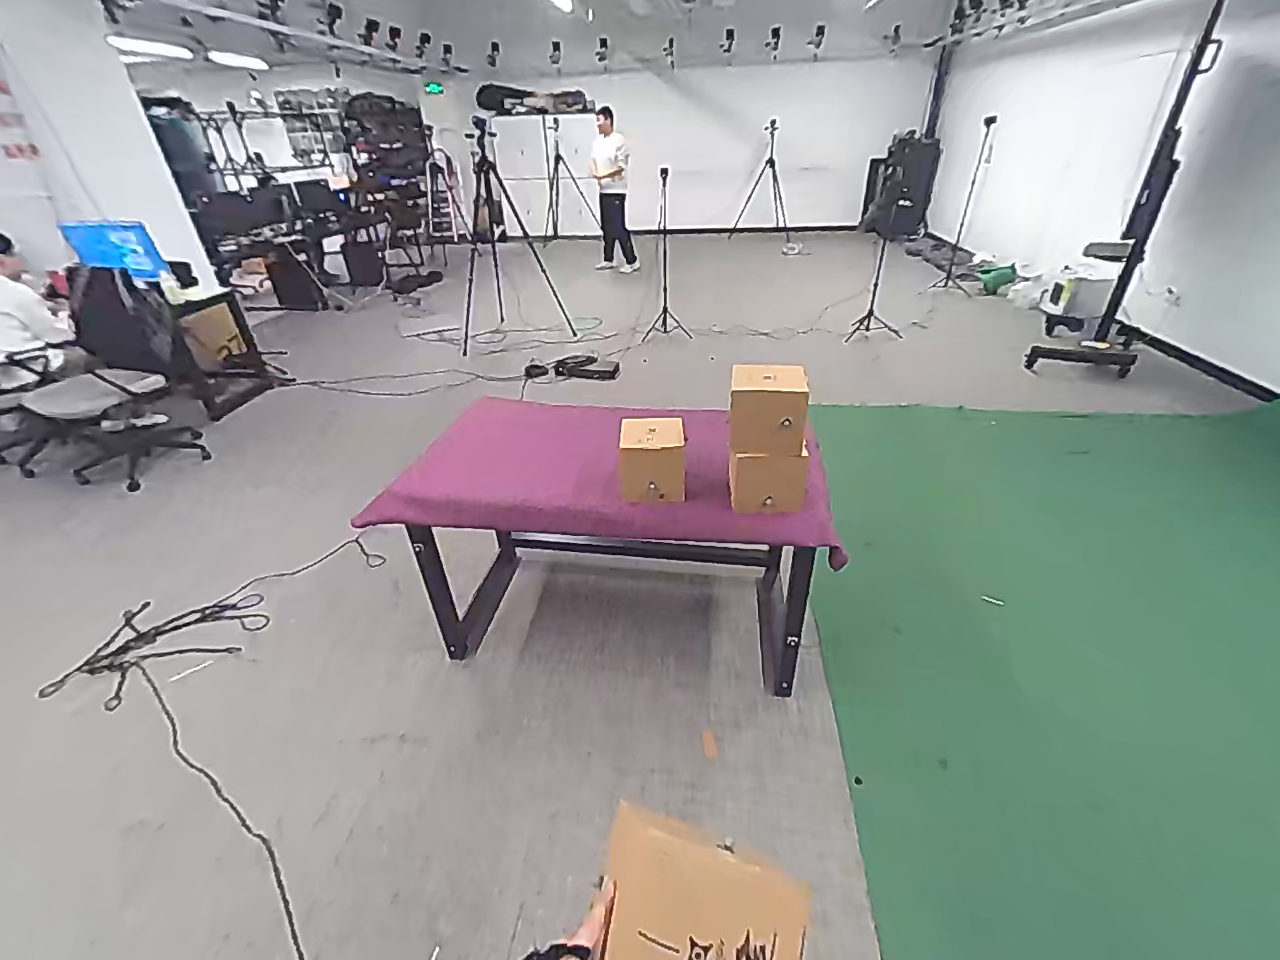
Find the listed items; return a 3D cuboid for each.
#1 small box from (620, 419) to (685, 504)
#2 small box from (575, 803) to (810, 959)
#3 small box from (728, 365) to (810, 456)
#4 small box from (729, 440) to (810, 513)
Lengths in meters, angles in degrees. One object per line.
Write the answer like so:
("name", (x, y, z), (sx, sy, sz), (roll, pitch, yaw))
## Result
("small box", (0.037, -0.052, 1.458), (0.168, 0.176, 0.179), (-1, 32, 3))
("small box", (0.044, 0.454, 0.553), (0.179, 0.176, 0.168), (21, 65, -1))
("small box", (0.310, -0.169, 1.317), (0.179, 0.176, 0.168), (3, 33, 10))
("small box", (0.327, -0.026, 1.396), (0.179, 0.176, 0.168), (0, 32, 5))
